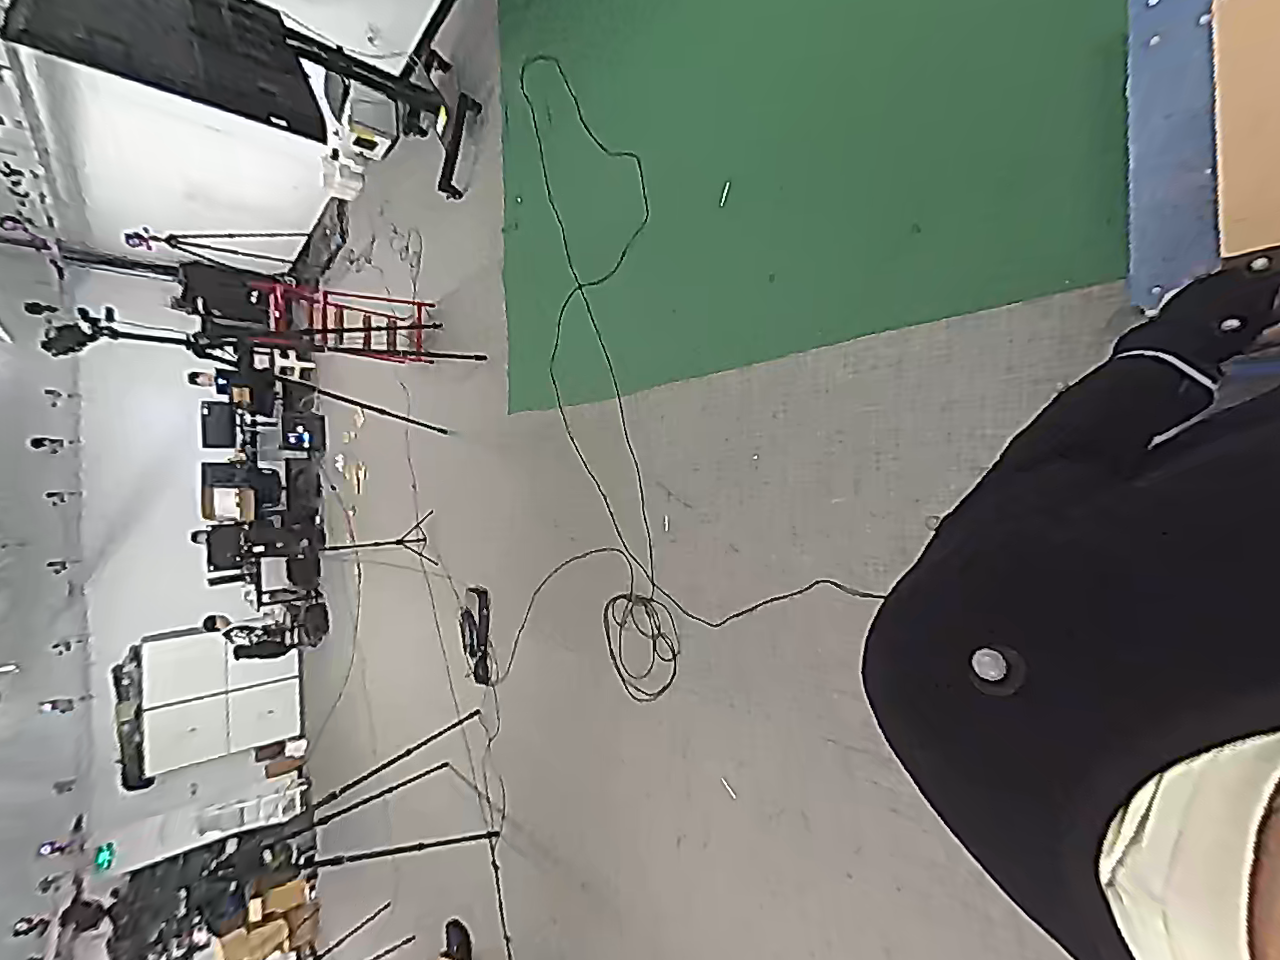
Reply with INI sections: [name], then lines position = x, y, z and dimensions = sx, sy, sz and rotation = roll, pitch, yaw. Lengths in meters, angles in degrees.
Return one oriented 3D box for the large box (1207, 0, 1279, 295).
[large box]
position = 1.099, -0.547, 0.812
dimensions = 0.320, 0.320, 0.408
rotation = -3, 89, 48
